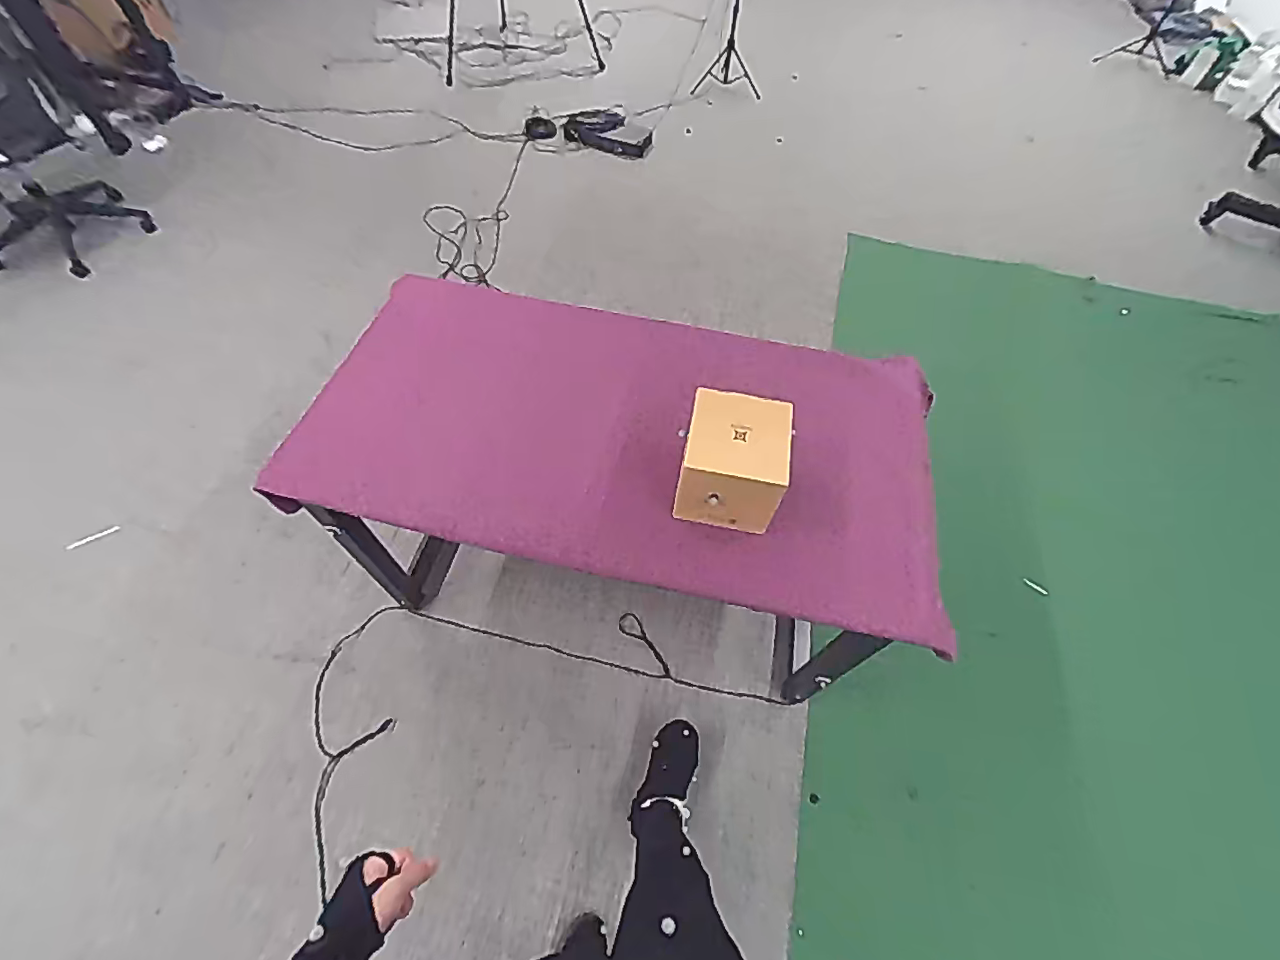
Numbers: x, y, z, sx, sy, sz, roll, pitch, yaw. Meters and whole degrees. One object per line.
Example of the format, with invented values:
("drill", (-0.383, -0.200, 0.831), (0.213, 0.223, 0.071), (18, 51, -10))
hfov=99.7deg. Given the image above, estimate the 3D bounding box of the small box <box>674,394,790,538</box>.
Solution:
("small box", (0.156, -0.020, 0.944), (0.168, 0.176, 0.179), (10, 55, 5))
